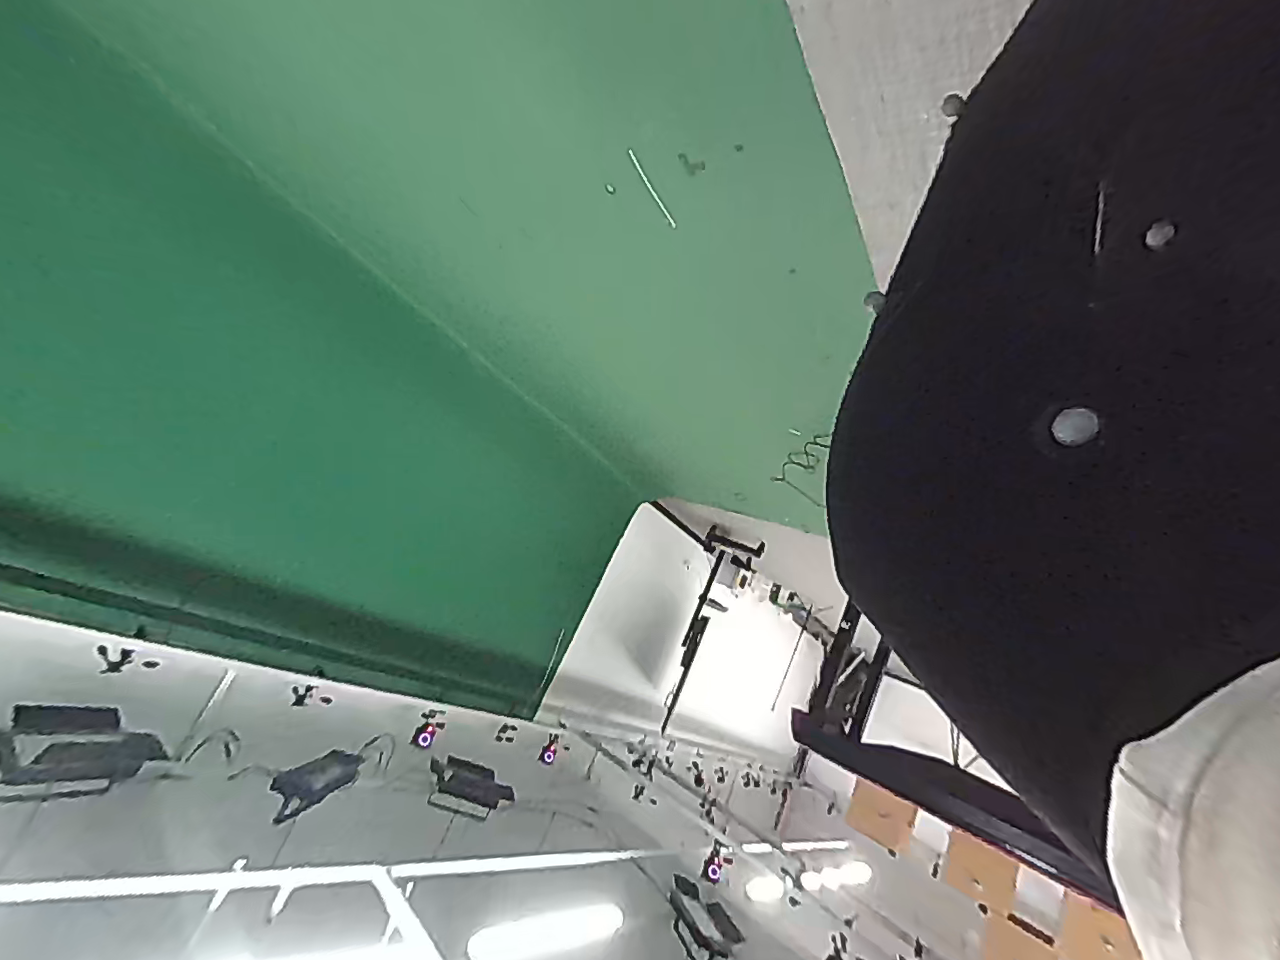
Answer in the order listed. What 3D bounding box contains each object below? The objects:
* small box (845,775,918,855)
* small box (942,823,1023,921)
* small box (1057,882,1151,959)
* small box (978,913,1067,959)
[{"bbox_3d":[0.820,1.121,1.818,0.179,0.176,0.168,11,159,42],"label":"small box"},{"bbox_3d":[1.034,1.169,1.626,0.179,0.176,0.168,13,162,41],"label":"small box"},{"bbox_3d":[1.232,1.212,1.440,0.168,0.176,0.179,12,162,43],"label":"small box"},{"bbox_3d":[1.064,1.337,1.504,0.179,0.176,0.168,11,160,43],"label":"small box"}]
